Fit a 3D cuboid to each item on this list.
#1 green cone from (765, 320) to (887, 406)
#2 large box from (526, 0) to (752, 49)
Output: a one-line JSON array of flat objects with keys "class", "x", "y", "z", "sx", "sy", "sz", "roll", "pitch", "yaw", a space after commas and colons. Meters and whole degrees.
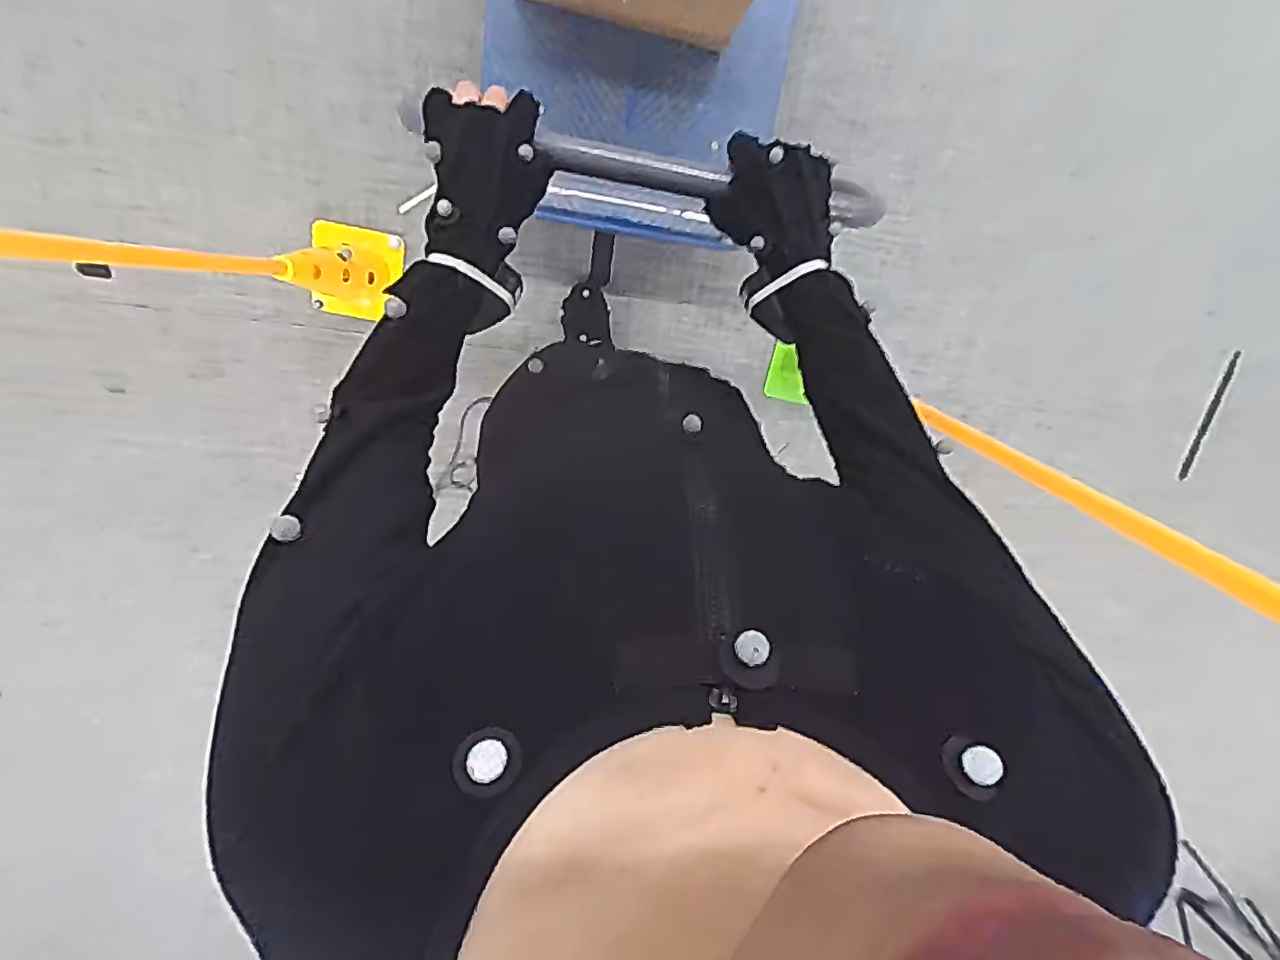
[{"class": "green cone", "x": 0.463, "y": -0.250, "z": 1.274, "sx": 0.202, "sy": 0.368, "sz": 0.200, "roll": 9, "pitch": 108, "yaw": -10}, {"class": "large box", "x": 0.005, "y": -0.944, "z": 0.834, "sx": 0.408, "sy": 0.320, "sz": 0.320, "roll": 9, "pitch": 109, "yaw": -8}]
